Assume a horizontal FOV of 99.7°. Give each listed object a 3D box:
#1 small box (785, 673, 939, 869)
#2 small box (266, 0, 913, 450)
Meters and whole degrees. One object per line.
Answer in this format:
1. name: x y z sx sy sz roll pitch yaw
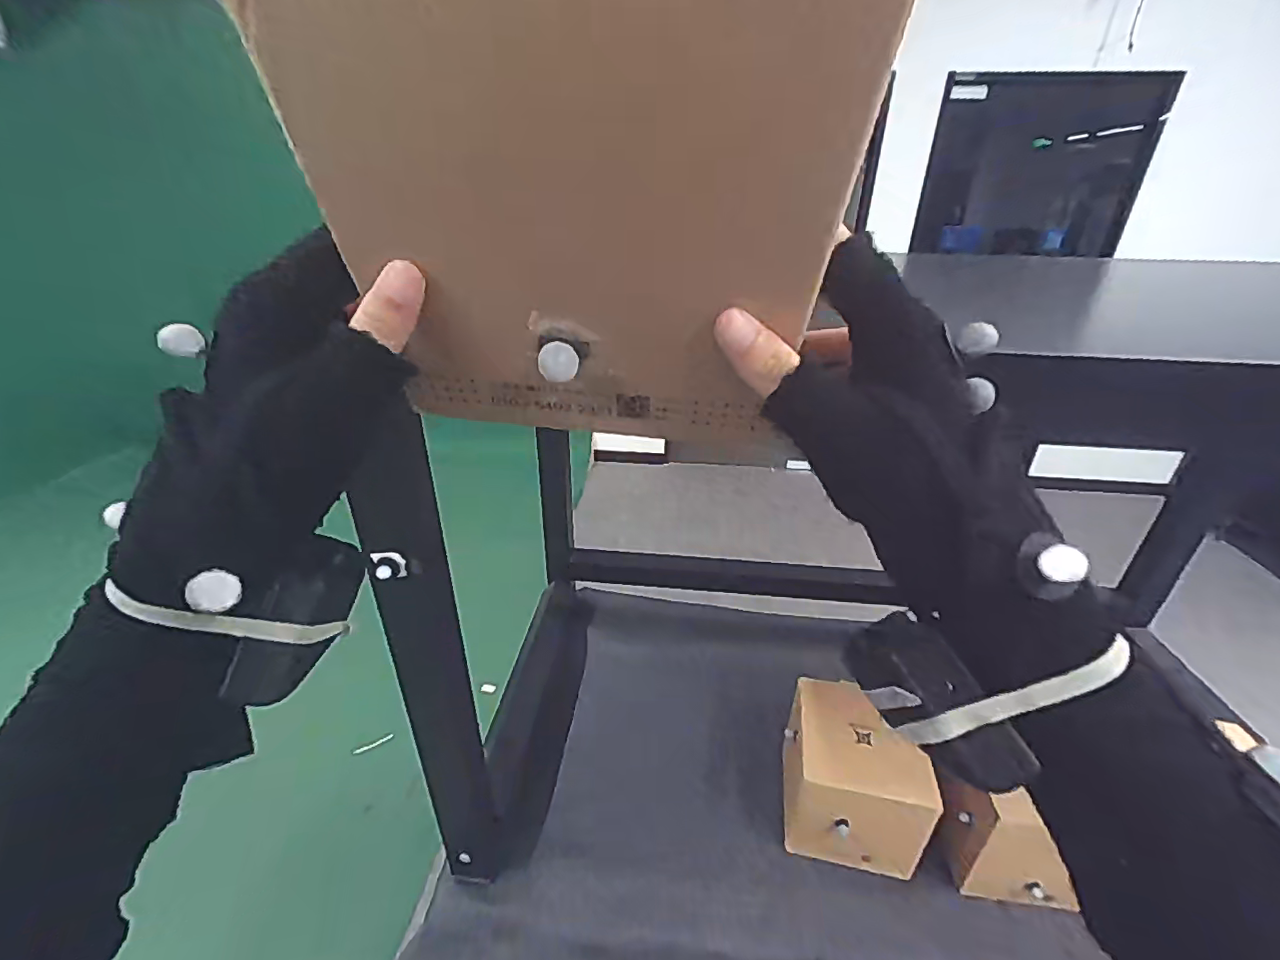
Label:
1. small box: 0.305 0.416 0.782 0.168 0.176 0.179 7 28 11
2. small box: -0.011 -0.138 0.237 0.168 0.176 0.179 6 55 3
